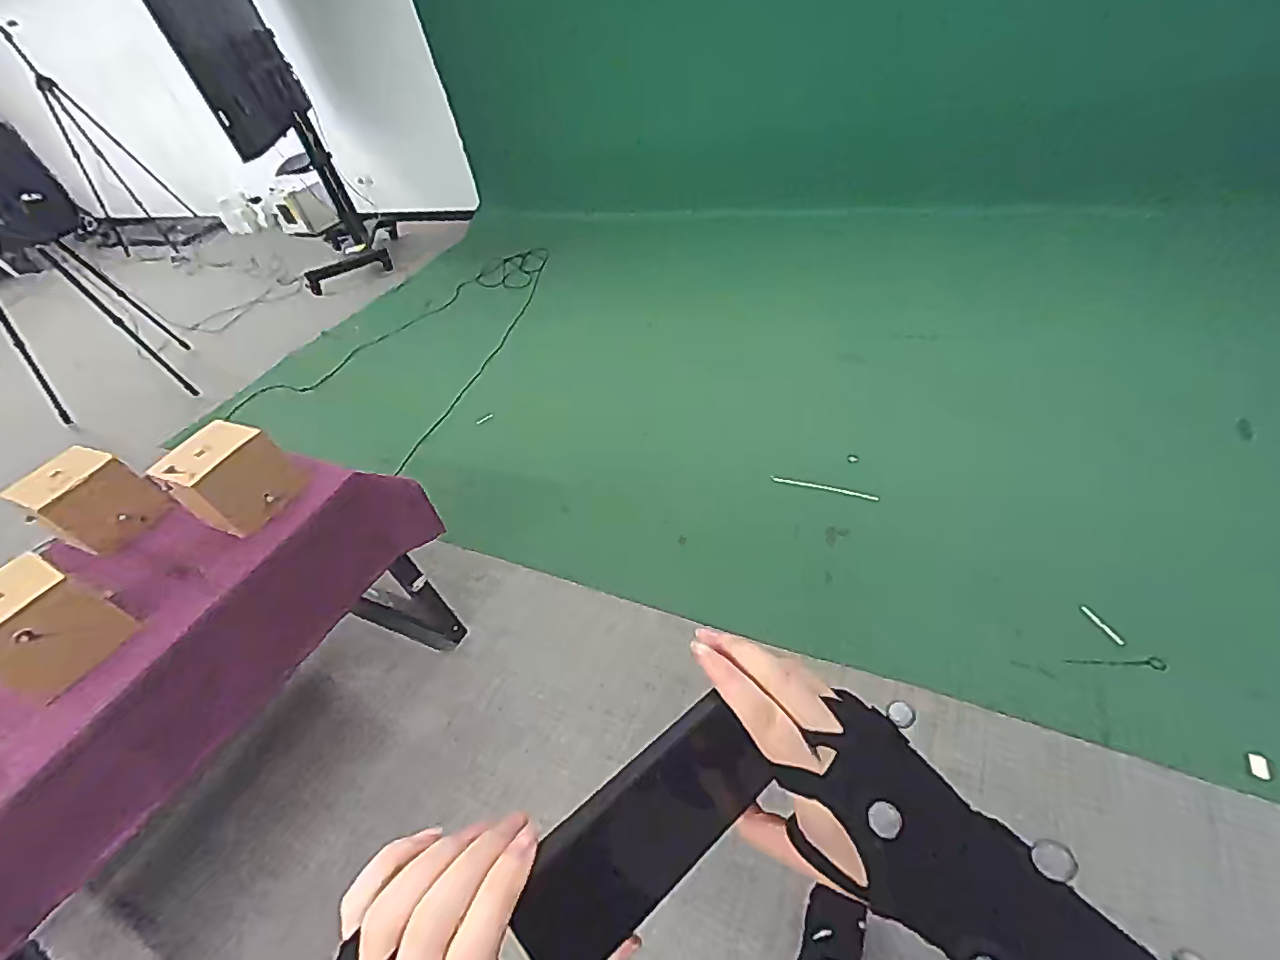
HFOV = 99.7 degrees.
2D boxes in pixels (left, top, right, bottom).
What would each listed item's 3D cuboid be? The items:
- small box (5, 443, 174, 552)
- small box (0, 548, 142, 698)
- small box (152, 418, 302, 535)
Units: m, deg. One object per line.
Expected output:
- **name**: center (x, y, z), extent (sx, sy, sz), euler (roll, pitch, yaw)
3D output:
- **small box**: center (-1.229, 0.041, 1.220), extent (0.179, 0.176, 0.168), euler (11, 50, 22)
- **small box**: center (-1.072, 0.257, 0.970), extent (0.168, 0.176, 0.179), euler (15, 50, 26)
- **small box**: center (-0.888, -0.009, 1.189), extent (0.168, 0.176, 0.179), euler (11, 50, 24)
